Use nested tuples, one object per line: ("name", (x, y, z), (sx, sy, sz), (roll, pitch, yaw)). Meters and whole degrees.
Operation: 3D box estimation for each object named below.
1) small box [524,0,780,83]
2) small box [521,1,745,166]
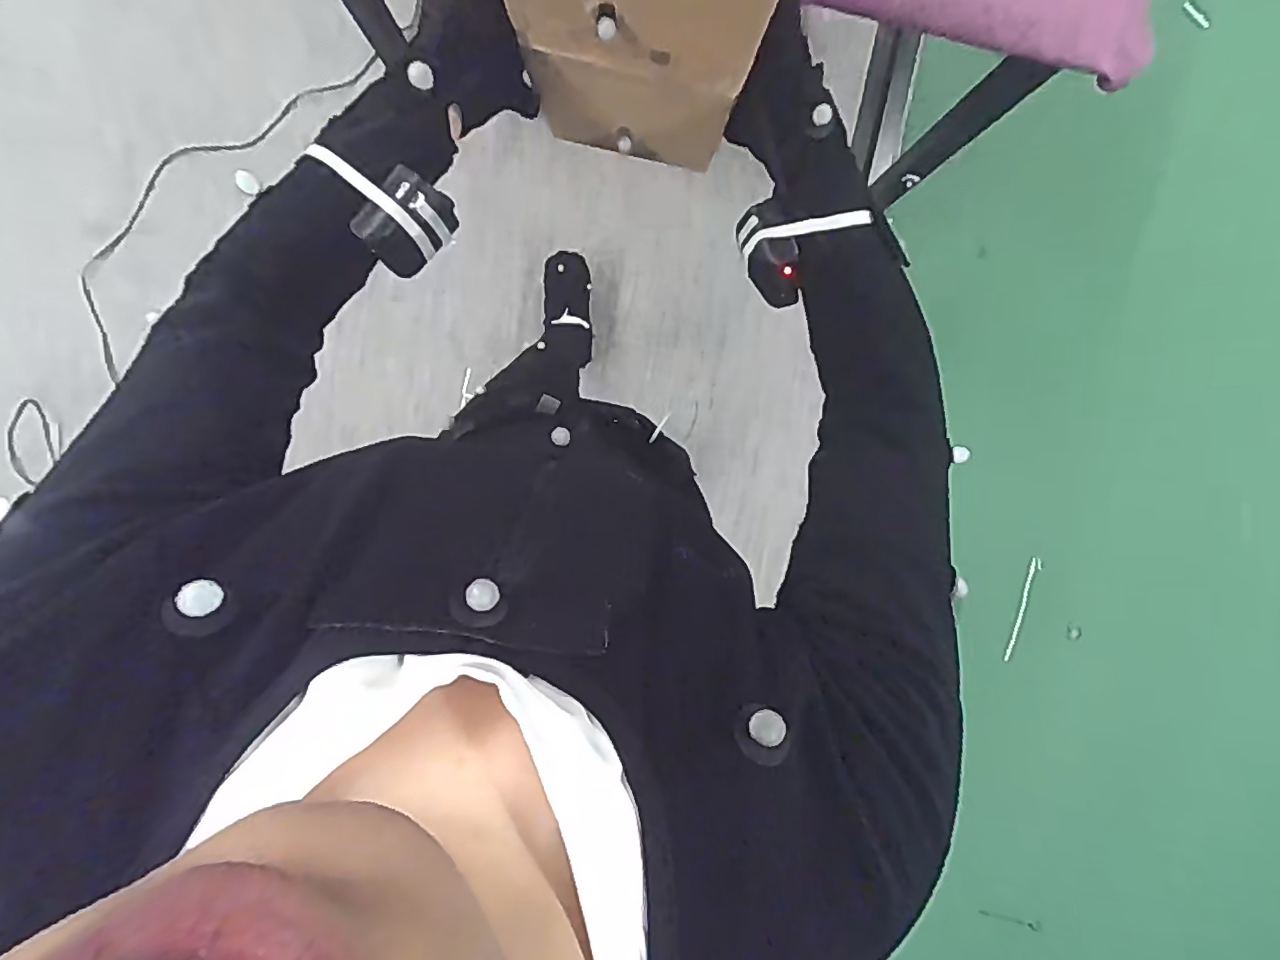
("small box", (0.015, -0.363, 0.288), (0.168, 0.176, 0.179), (11, 103, -4))
("small box", (0.012, -0.398, 0.447), (0.168, 0.176, 0.179), (12, 102, -3))
